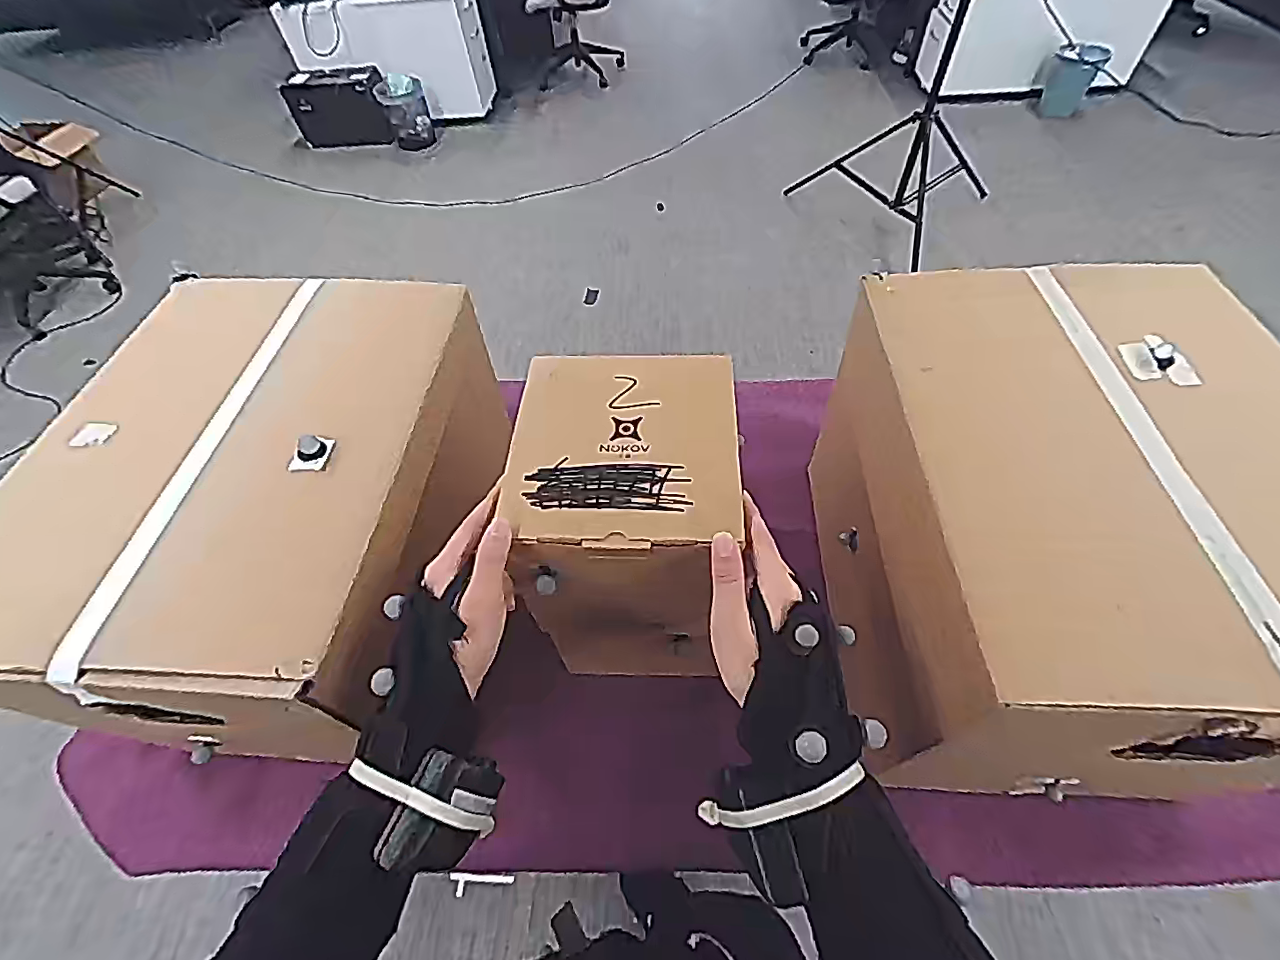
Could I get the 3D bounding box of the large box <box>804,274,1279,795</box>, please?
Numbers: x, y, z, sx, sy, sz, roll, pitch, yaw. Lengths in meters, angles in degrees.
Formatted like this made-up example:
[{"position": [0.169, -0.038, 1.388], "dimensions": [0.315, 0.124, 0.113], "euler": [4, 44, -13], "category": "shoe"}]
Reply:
[{"position": [0.364, 0.057, 0.523], "dimensions": [0.320, 0.320, 0.408], "euler": [0, 53, 4], "category": "large box"}]
